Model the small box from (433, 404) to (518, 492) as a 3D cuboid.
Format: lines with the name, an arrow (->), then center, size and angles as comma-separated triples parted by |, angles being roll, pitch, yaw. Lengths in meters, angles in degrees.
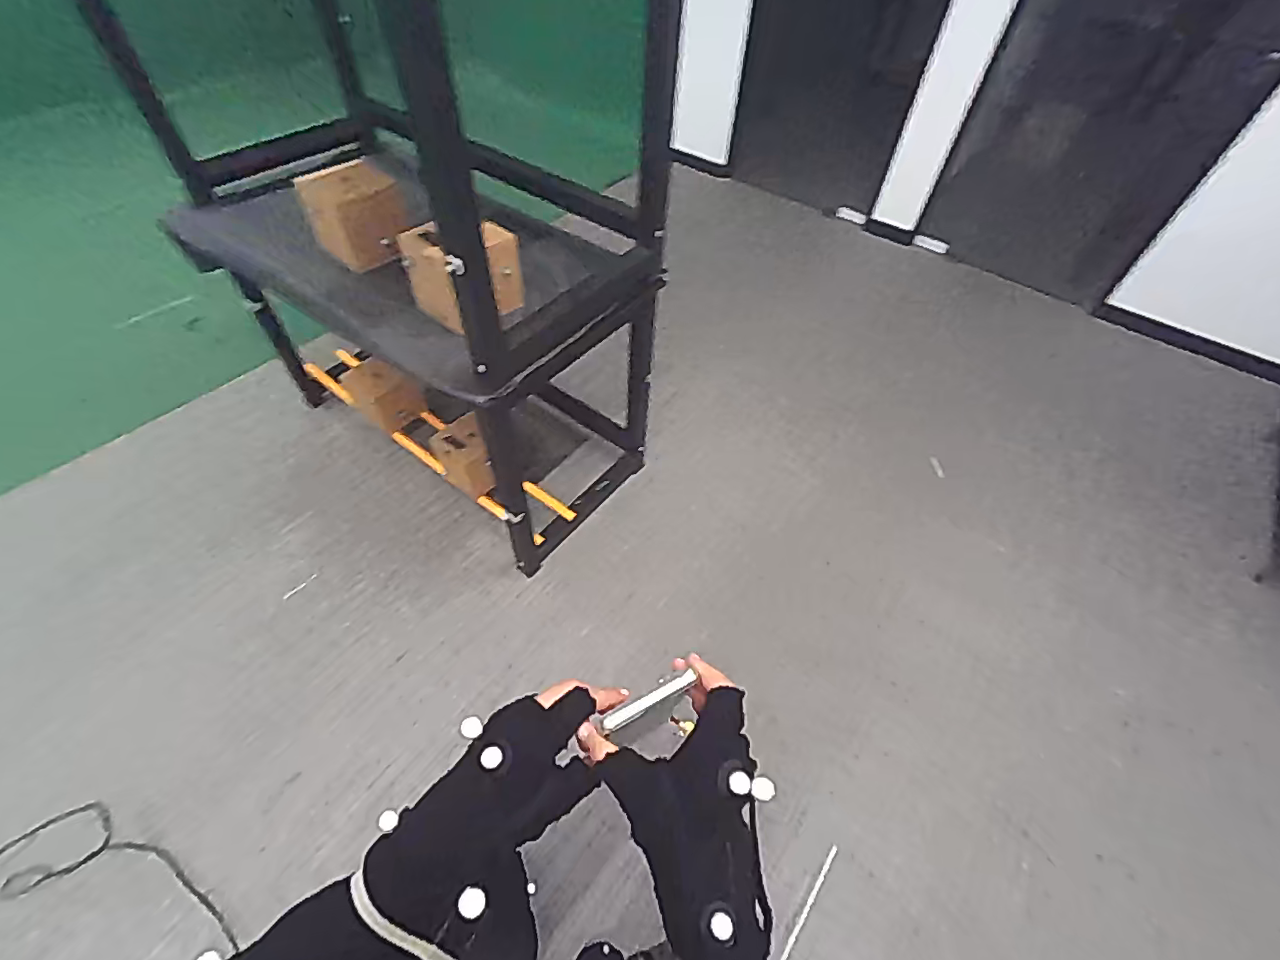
small box -> -0.498, -0.094, 1.668 | 0.168, 0.176, 0.179 | 36, 59, 22

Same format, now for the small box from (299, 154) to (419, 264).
small box -> -0.669, -0.651, 1.303 | 0.179, 0.176, 0.168 | 36, 58, 22
